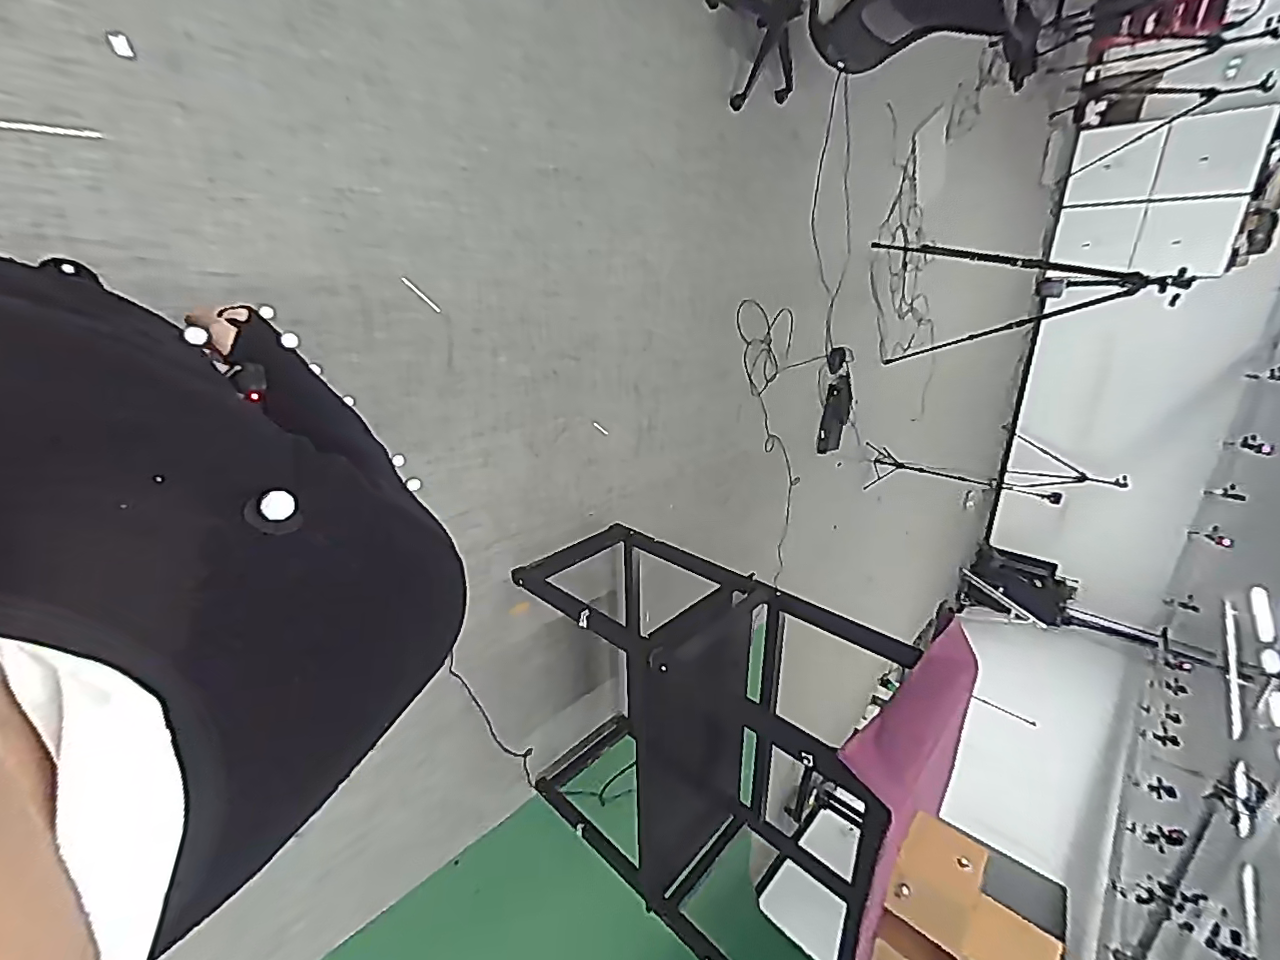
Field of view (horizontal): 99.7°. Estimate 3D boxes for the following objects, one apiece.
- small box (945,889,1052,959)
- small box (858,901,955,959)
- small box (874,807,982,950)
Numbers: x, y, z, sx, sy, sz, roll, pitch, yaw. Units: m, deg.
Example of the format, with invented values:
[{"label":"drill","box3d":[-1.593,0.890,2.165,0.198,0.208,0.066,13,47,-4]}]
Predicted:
[{"label":"small box","box3d":[0.804,1.102,1.230,0.179,0.176,0.168,-20,118,-44]},{"label":"small box","box3d":[0.683,1.195,1.384,0.179,0.176,0.168,-18,117,-43]},{"label":"small box","box3d":[0.684,0.935,1.289,0.179,0.176,0.168,-17,115,-44]}]
